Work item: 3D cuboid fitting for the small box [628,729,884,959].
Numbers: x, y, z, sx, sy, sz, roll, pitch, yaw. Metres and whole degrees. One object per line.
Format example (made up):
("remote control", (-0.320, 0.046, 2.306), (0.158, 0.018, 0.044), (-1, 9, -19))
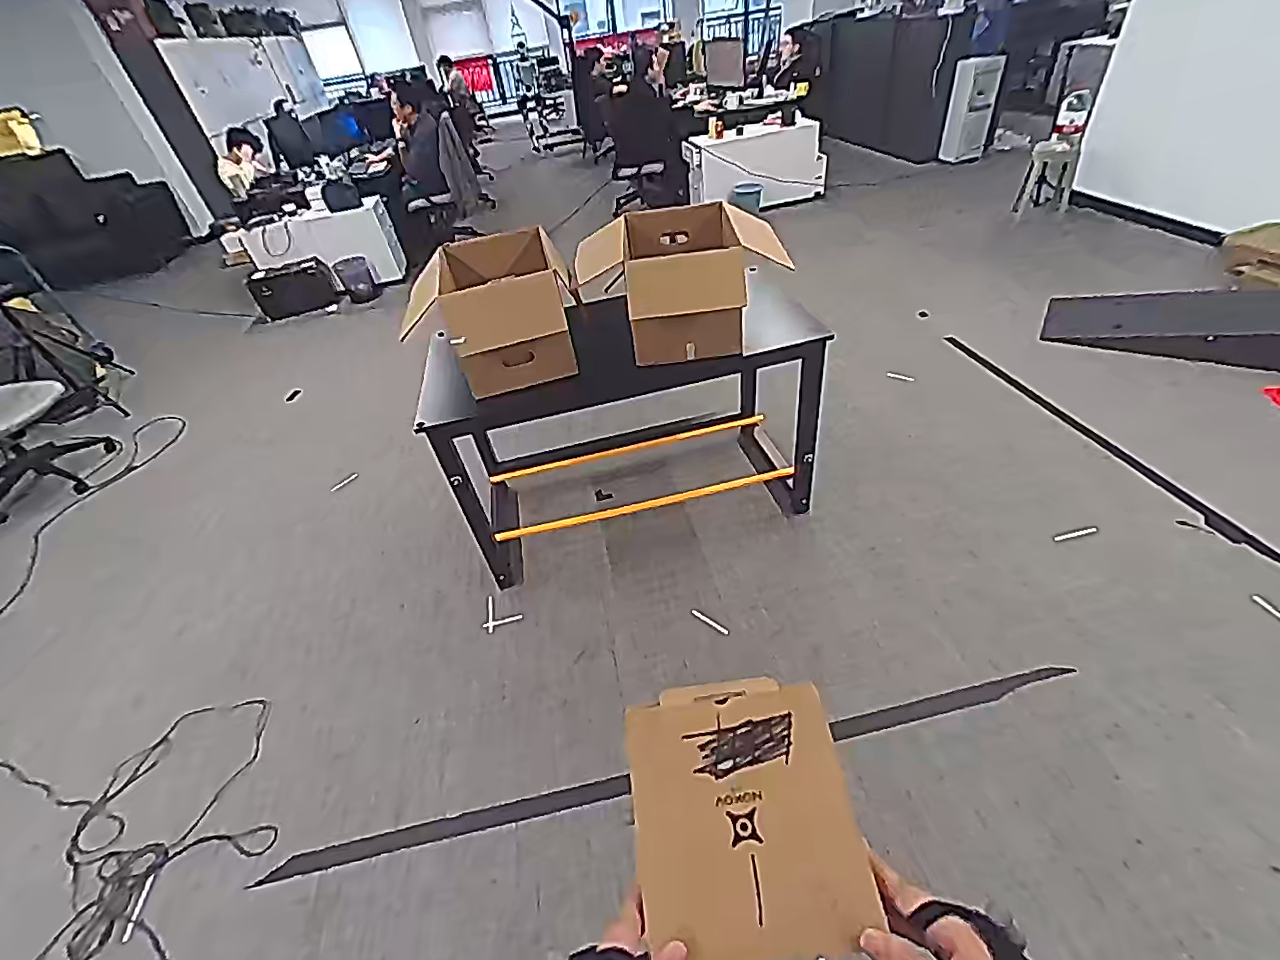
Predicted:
("small box", (0.082, 0.333, 0.461), (0.168, 0.176, 0.179), (-8, 53, -1))
